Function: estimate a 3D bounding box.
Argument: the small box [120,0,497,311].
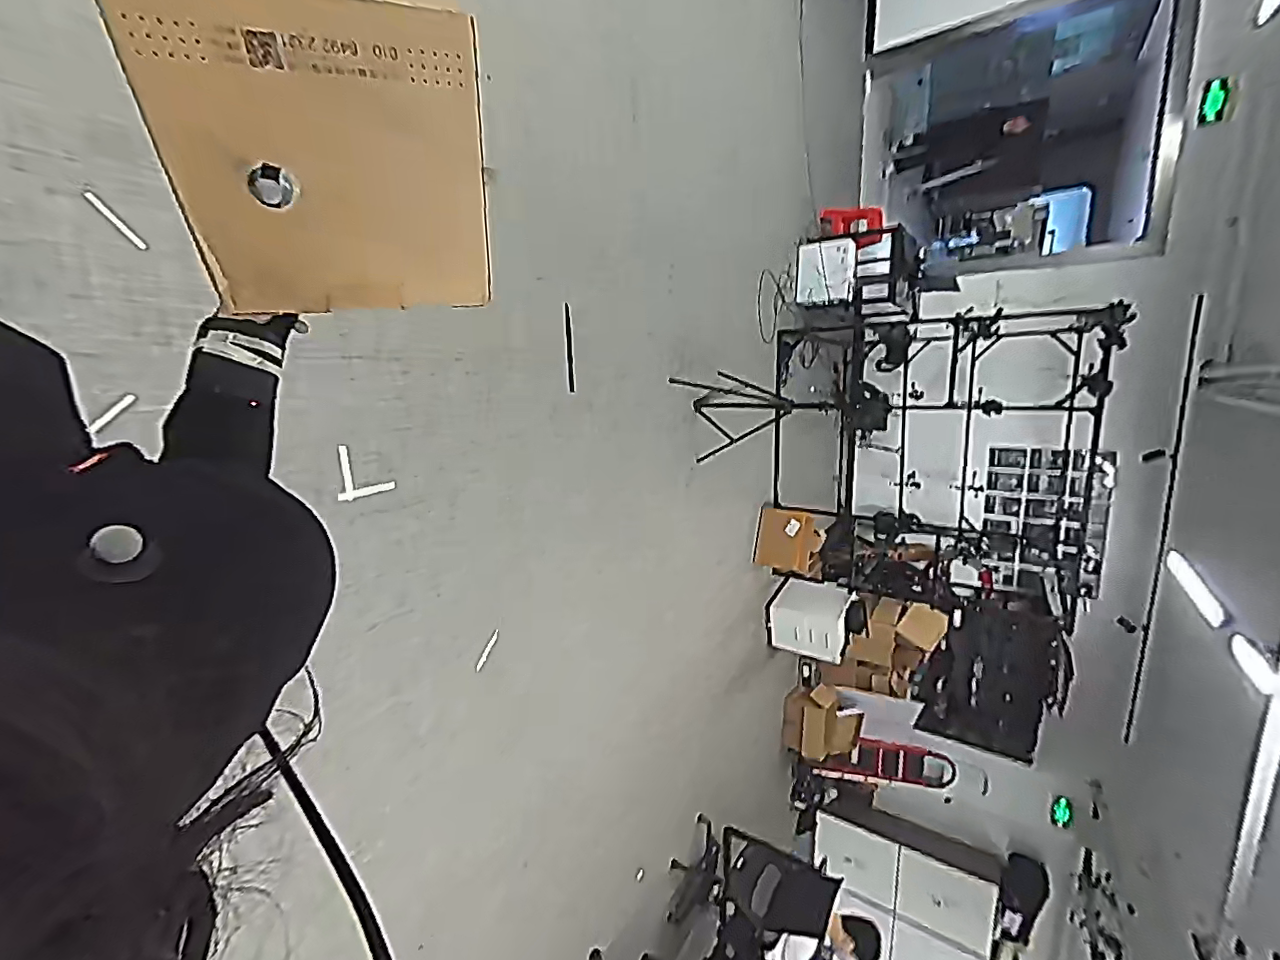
[{"bbox_3d":[-0.198,-0.232,0.362,0.168,0.179,0.176,-8,135,-22],"label":"small box"}]
